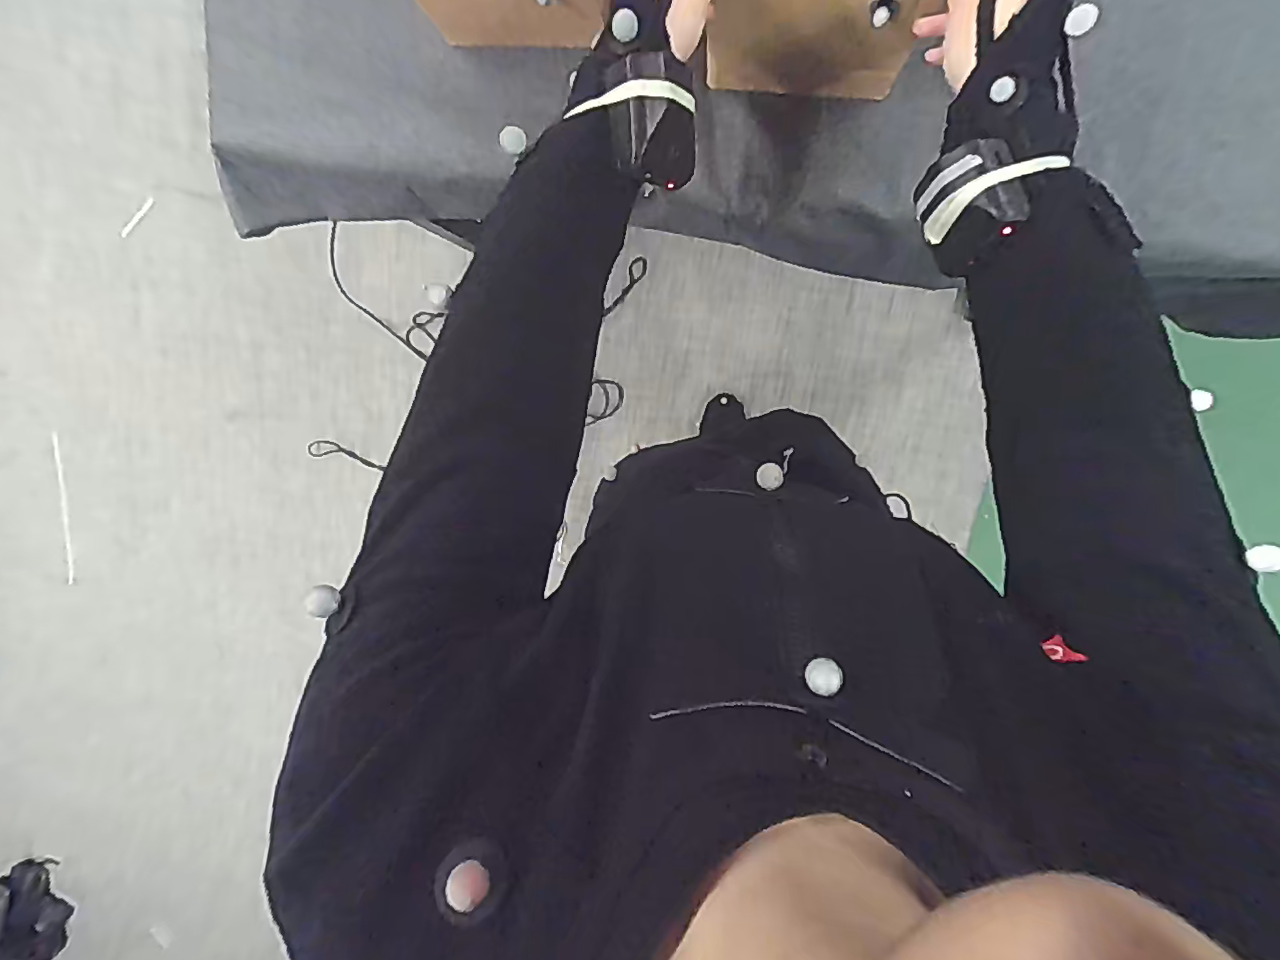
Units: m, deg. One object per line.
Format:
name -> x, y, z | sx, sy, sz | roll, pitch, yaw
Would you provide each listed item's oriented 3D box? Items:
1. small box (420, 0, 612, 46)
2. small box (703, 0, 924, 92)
small box -> -0.116, -0.510, 0.460 | 0.179, 0.176, 0.168 | 6, 100, 8
small box -> 0.146, -0.449, 0.438 | 0.179, 0.176, 0.168 | 7, 101, 5
